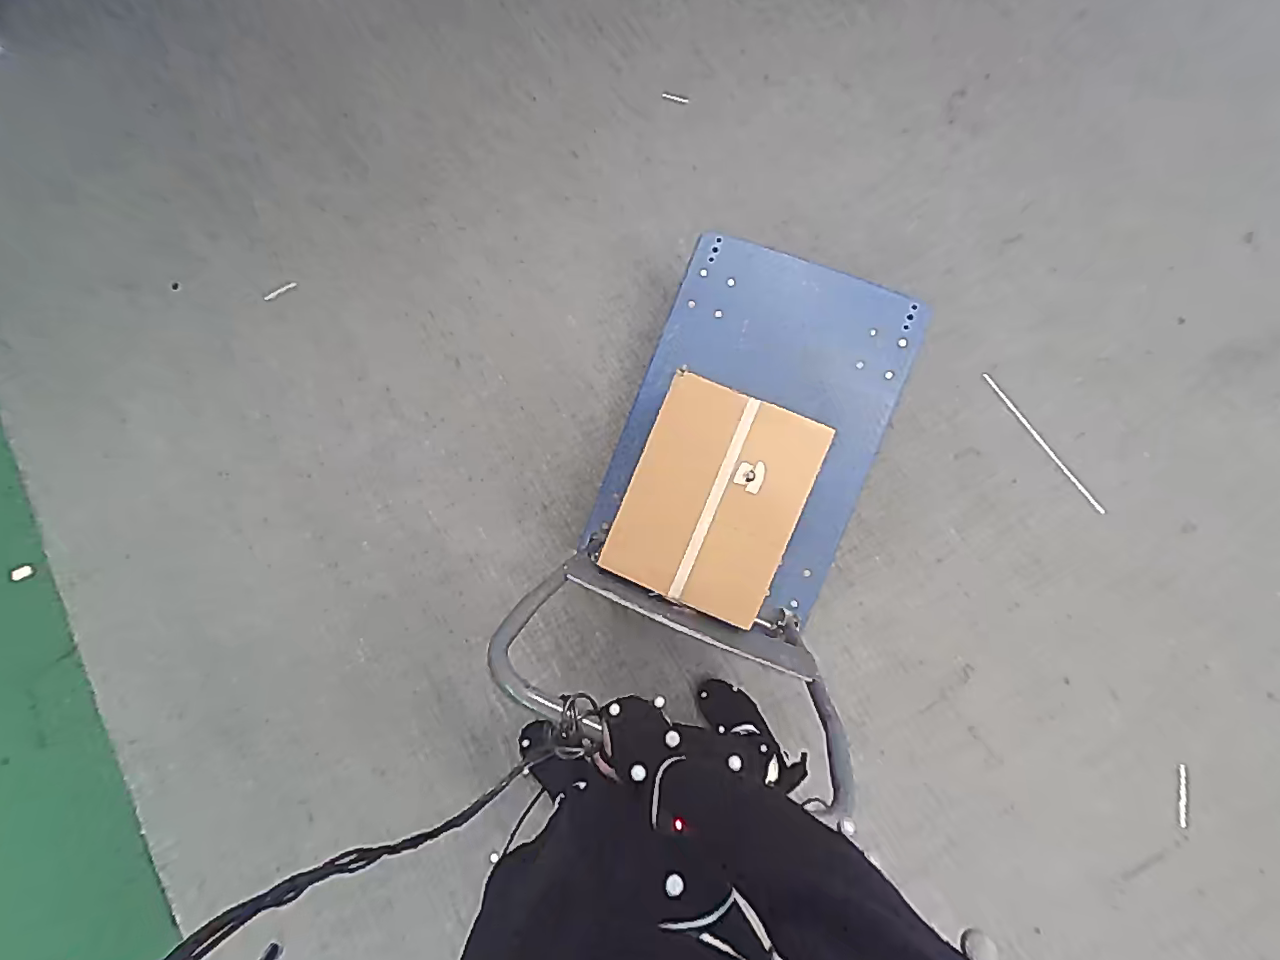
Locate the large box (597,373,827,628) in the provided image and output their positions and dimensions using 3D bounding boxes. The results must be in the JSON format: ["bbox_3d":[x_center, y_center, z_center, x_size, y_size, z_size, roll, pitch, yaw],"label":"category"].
[{"bbox_3d":[0.147,0.040,1.156,0.320,0.320,0.408,24,92,6],"label":"large box"}]
